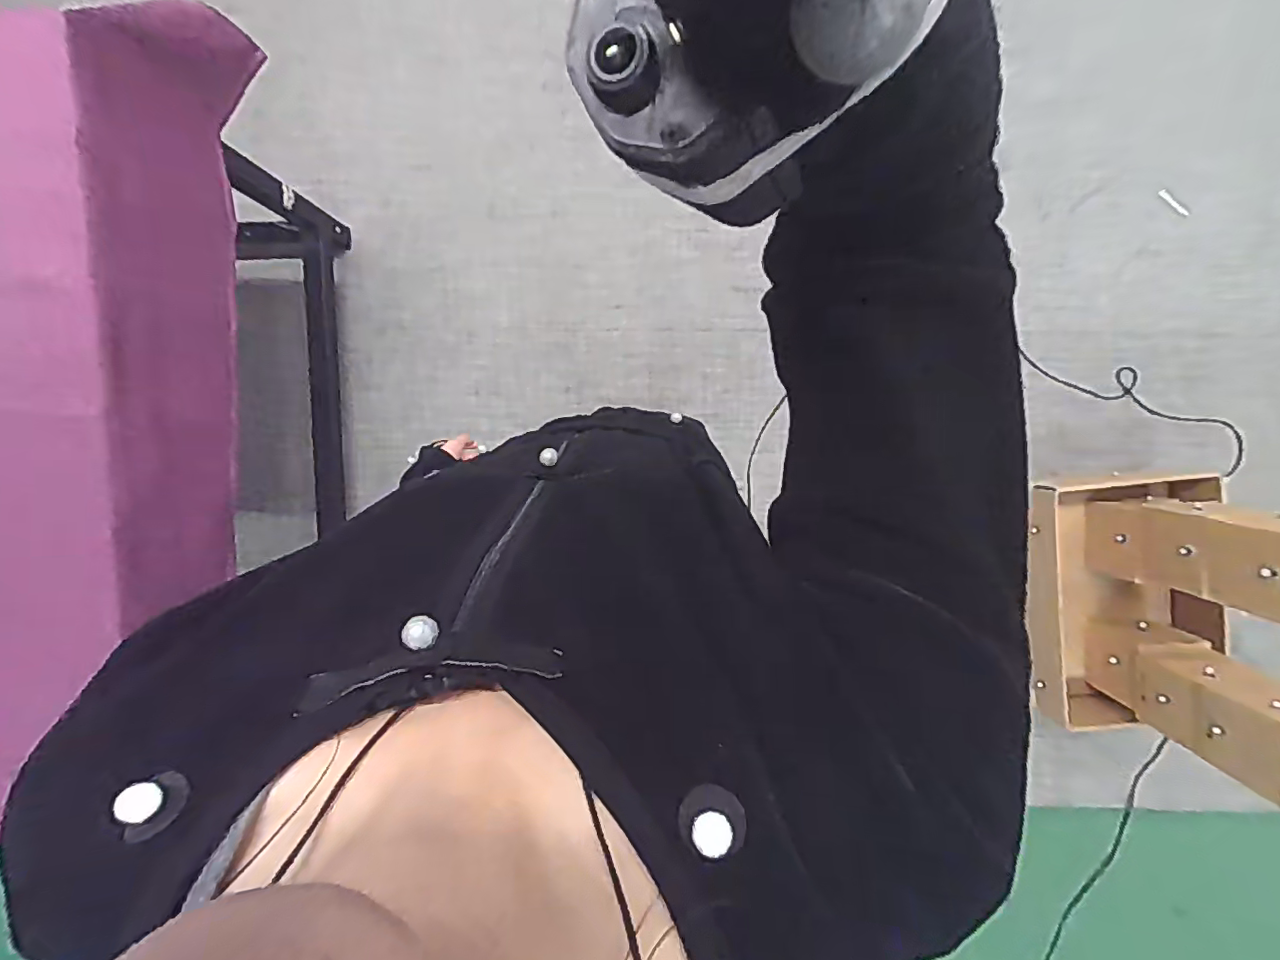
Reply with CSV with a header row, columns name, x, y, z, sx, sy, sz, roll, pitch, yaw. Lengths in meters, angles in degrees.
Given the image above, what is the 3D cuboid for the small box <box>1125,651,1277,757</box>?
name,x,y,z,sx,sy,sz,roll,pitch,yaw
small box,1.249,0.497,1.218,0.179,0.176,0.168,-2,96,2

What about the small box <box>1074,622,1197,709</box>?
name,x,y,z,sx,sy,sz,roll,pitch,yaw
small box,1.255,0.468,1.381,0.168,0.176,0.179,-2,94,2

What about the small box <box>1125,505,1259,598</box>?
name,x,y,z,sx,sy,sz,roll,pitch,yaw
small box,1.223,0.150,1.191,0.168,0.176,0.179,-2,96,4

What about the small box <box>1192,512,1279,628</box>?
name,x,y,z,sx,sy,sz,roll,pitch,yaw
small box,1.215,0.165,1.030,0.168,0.176,0.179,-7,94,4
